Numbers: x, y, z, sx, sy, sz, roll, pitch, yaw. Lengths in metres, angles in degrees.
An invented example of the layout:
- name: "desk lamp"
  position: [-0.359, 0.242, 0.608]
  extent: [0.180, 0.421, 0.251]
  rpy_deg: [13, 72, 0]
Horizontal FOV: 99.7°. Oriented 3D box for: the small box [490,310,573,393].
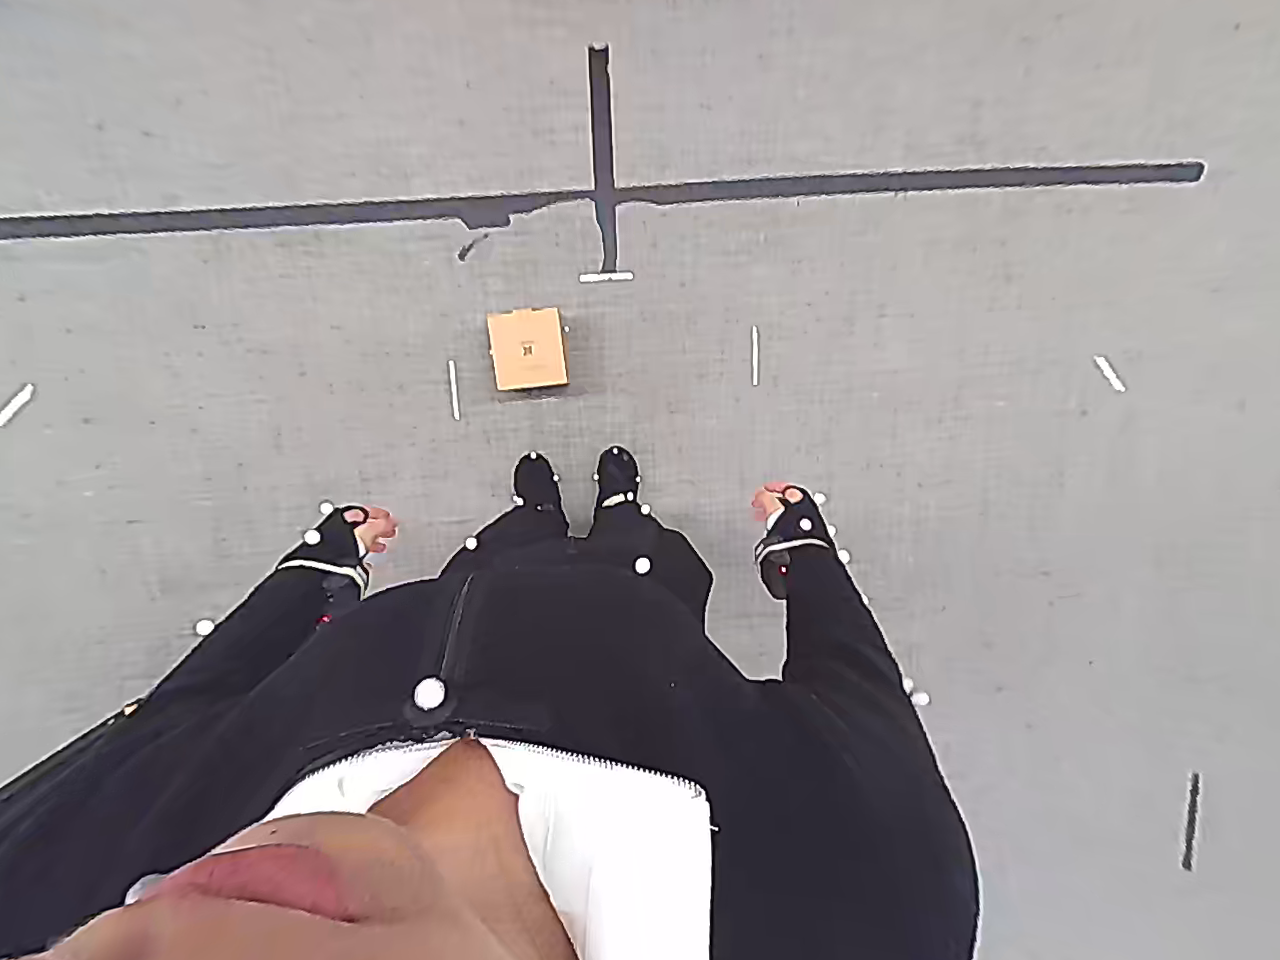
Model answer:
- name: "small box"
  position: [-0.261, -0.310, 1.334]
  extent: [0.168, 0.176, 0.179]
  rpy_deg: [-7, 100, -1]
